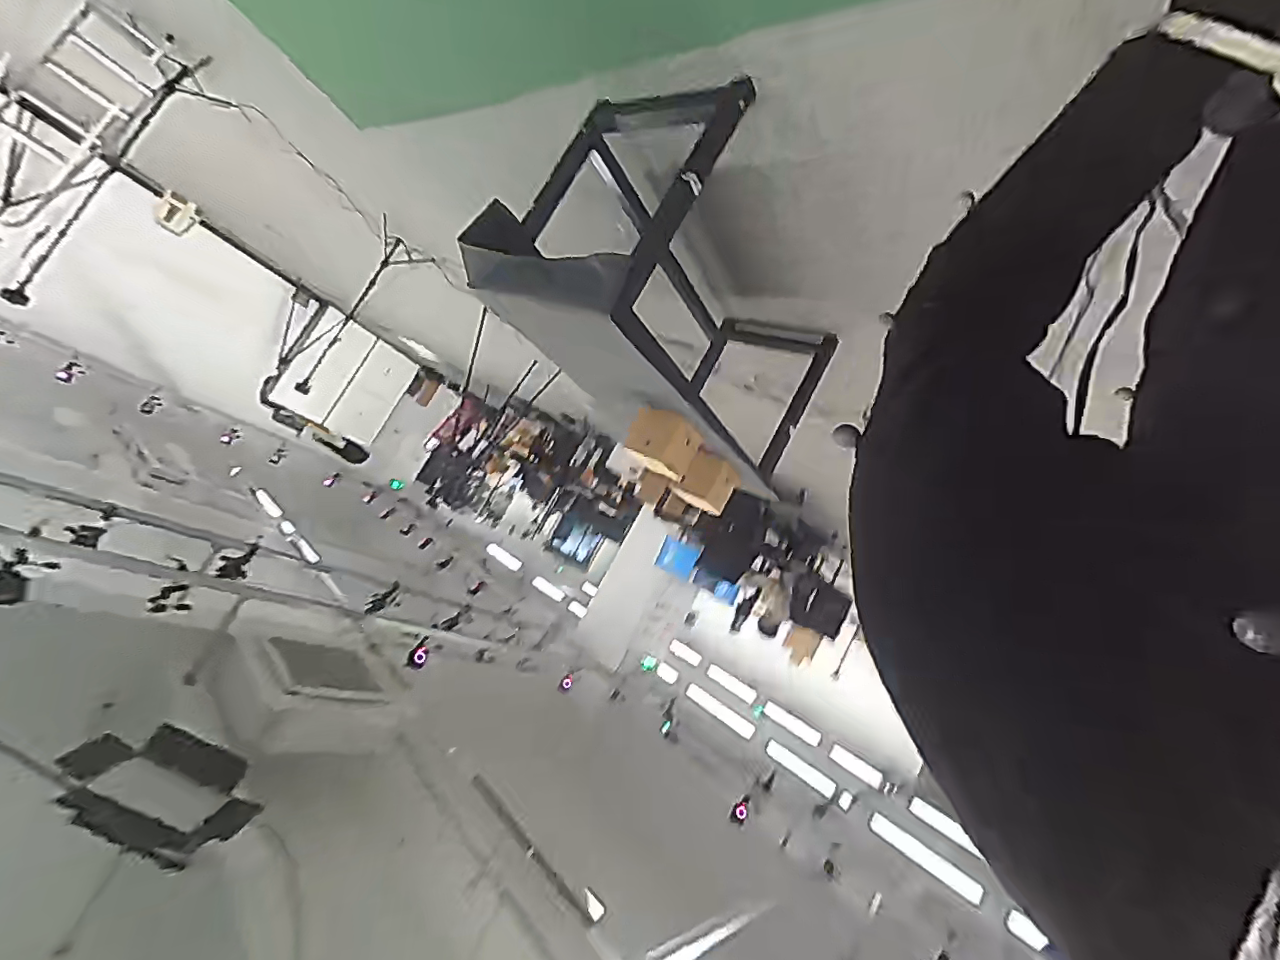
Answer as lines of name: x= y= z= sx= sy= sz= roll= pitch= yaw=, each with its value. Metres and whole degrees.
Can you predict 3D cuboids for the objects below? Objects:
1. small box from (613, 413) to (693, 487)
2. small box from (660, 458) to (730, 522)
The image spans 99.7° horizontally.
small box: x=0.047 y=-0.106 z=1.817 sx=0.179 sy=0.176 sz=0.168 roll=22 pitch=169 yaw=36
small box: x=0.214 y=0.032 z=2.069 sx=0.179 sy=0.176 sz=0.168 roll=23 pitch=170 yaw=35
